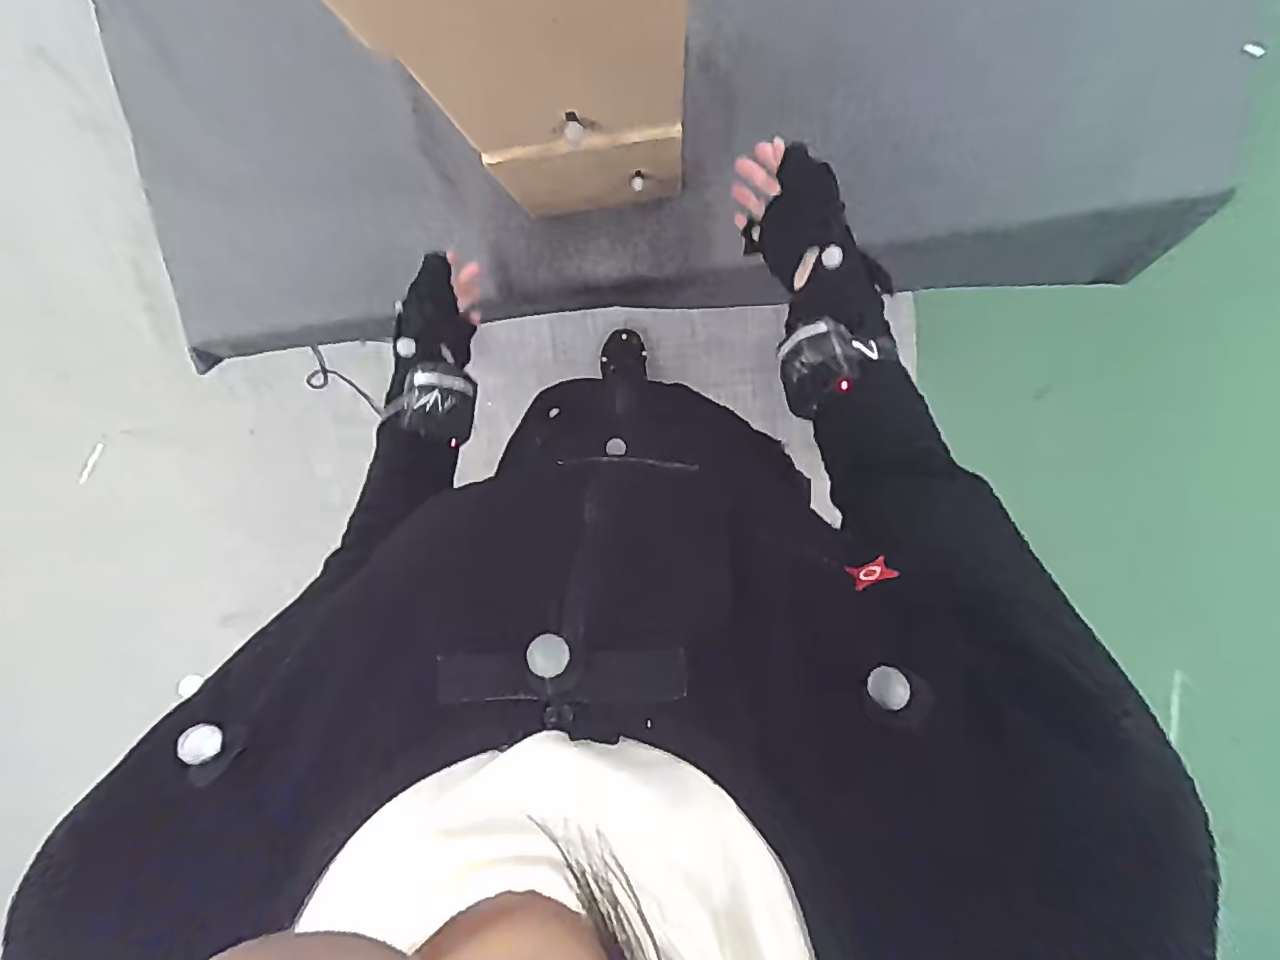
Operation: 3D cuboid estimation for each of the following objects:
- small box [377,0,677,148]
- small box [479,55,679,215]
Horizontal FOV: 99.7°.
[{"bbox_3d":[-0.070,-0.357,0.369,0.179,0.176,0.168,-6,100,4],"label":"small box"},{"bbox_3d":[-0.057,-0.380,0.529,0.179,0.176,0.168,-7,99,7],"label":"small box"}]
